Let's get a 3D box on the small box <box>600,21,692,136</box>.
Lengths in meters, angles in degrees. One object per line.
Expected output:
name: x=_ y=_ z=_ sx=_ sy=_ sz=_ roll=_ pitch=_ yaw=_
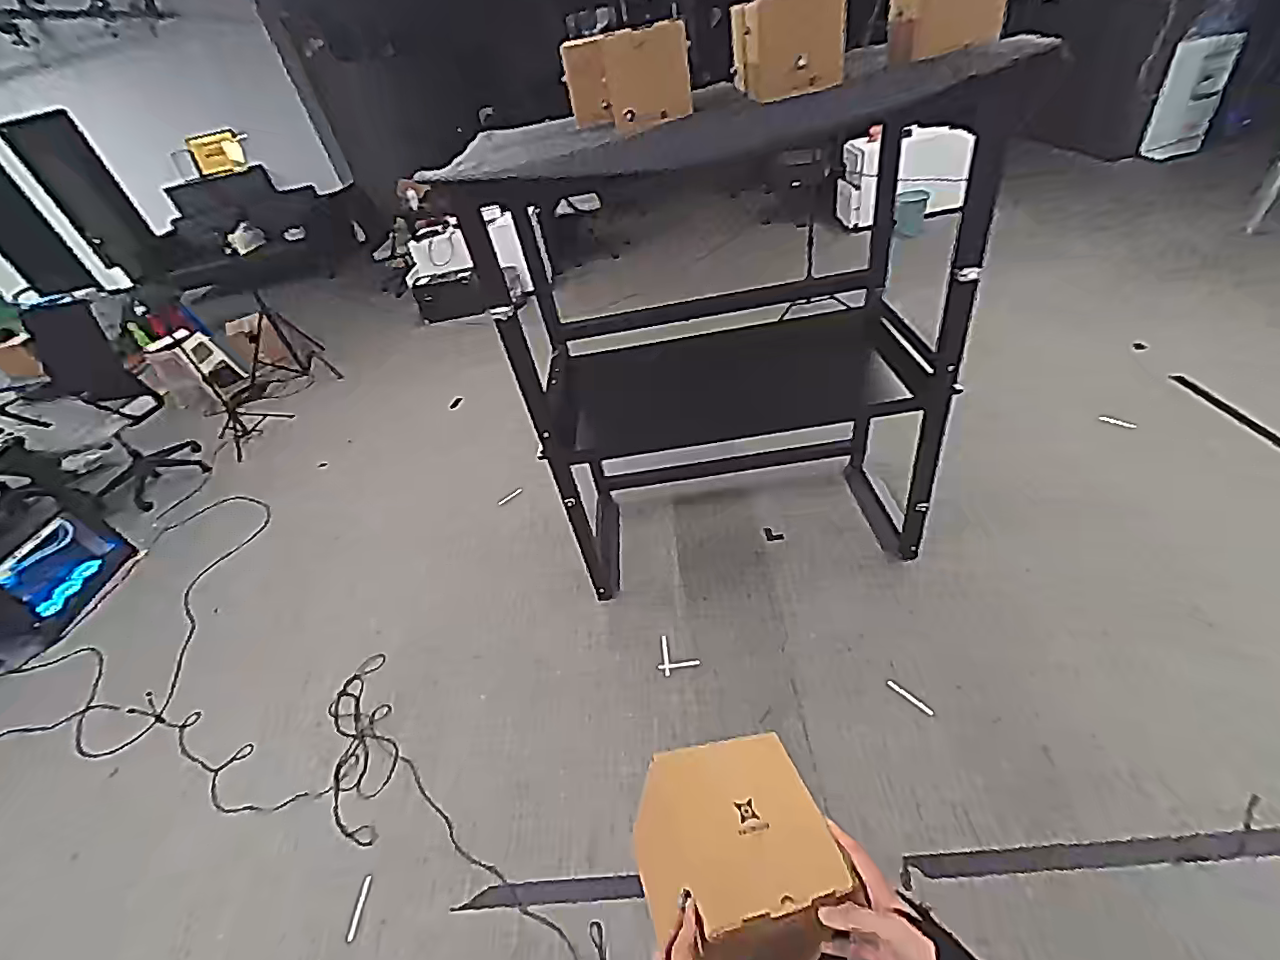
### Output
small box: x=0.018 y=-0.852 z=1.156 sx=0.168 sy=0.176 sz=0.179 roll=-8 pitch=38 yaw=6

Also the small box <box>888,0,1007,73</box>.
small box: x=0.618 y=-0.948 z=1.098 sx=0.168 sy=0.176 sz=0.179 roll=-7 pitch=39 yaw=9

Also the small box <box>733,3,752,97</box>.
small box: x=0.323 y=-1.055 z=1.312 sx=0.179 sy=0.176 sz=0.168 roll=-7 pitch=39 yaw=7

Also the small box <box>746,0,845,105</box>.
small box: x=0.315 y=-0.895 z=1.119 sx=0.168 sy=0.176 sz=0.179 roll=-8 pitch=38 yaw=8

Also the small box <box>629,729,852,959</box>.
small box: x=0.095 y=0.420 z=0.609 sx=0.168 sy=0.176 sz=0.179 roll=-1 pitch=30 yaw=-20
